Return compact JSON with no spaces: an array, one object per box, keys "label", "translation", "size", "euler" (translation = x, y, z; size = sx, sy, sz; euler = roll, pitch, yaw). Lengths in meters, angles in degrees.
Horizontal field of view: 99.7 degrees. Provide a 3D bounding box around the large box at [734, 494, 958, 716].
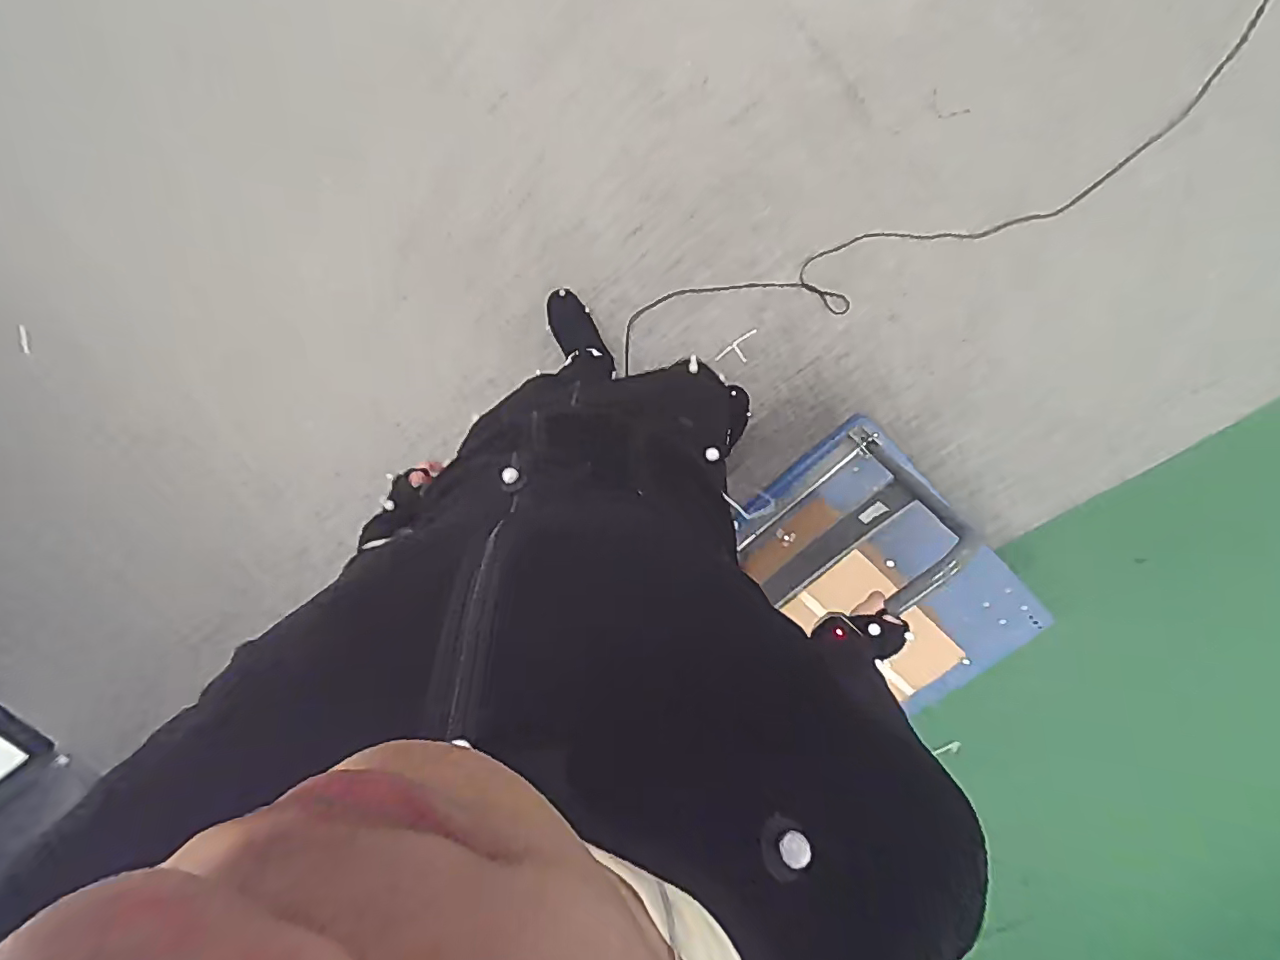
[{"label":"large box","translation":[0.504,0.310,1.402],"size":[0.408,0.320,0.320],"euler":[42,108,-12]}]
